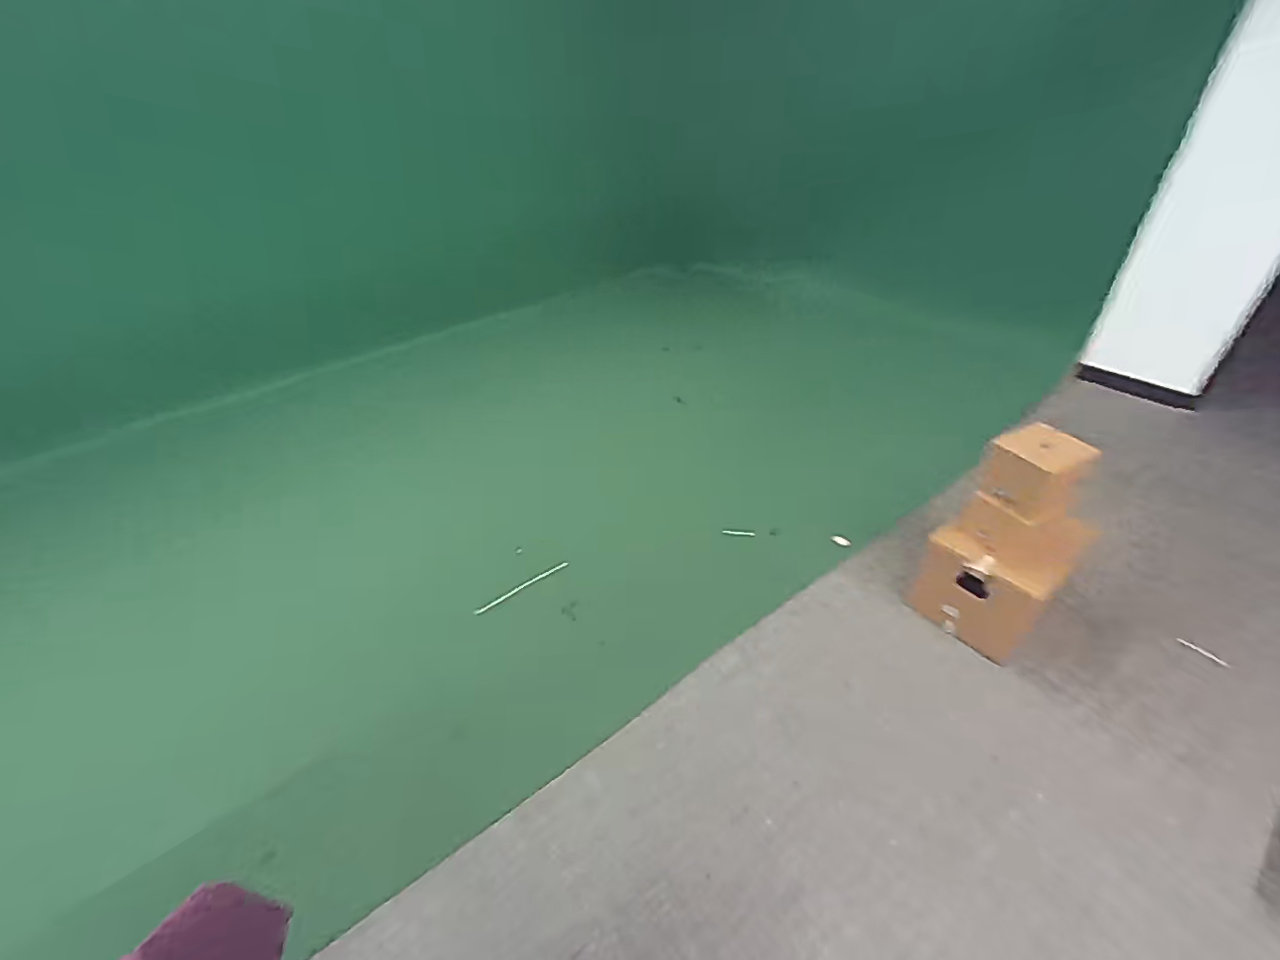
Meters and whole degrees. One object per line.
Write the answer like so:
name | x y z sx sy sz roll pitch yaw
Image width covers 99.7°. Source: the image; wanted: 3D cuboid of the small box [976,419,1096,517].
small box | 1.037 -0.031 1.433 0.179 0.176 0.168 -19 40 -15

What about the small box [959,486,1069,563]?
small box | 1.045 0.102 1.527 0.179 0.176 0.168 -21 41 -18

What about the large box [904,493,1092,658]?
large box | 1.107 0.270 1.699 0.408 0.320 0.320 -28 44 -27
